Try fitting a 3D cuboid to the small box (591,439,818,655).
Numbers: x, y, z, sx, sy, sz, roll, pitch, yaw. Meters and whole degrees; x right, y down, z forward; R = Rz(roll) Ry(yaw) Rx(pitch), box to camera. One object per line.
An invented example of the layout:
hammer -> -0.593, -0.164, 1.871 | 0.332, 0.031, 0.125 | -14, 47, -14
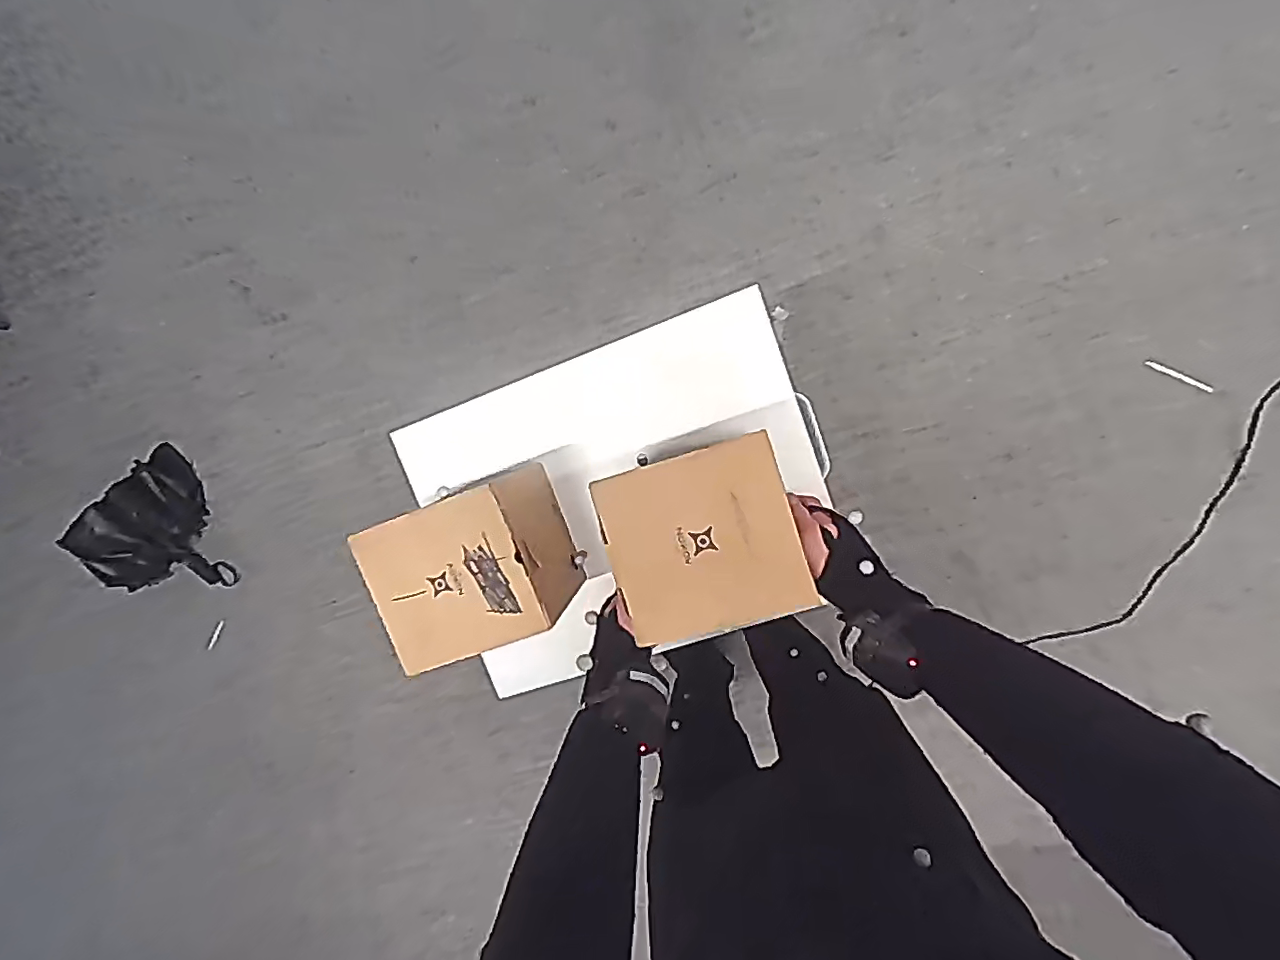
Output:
small box -> 0.073, 0.062, 0.570 | 0.179, 0.176, 0.168 | -17, 89, 13
